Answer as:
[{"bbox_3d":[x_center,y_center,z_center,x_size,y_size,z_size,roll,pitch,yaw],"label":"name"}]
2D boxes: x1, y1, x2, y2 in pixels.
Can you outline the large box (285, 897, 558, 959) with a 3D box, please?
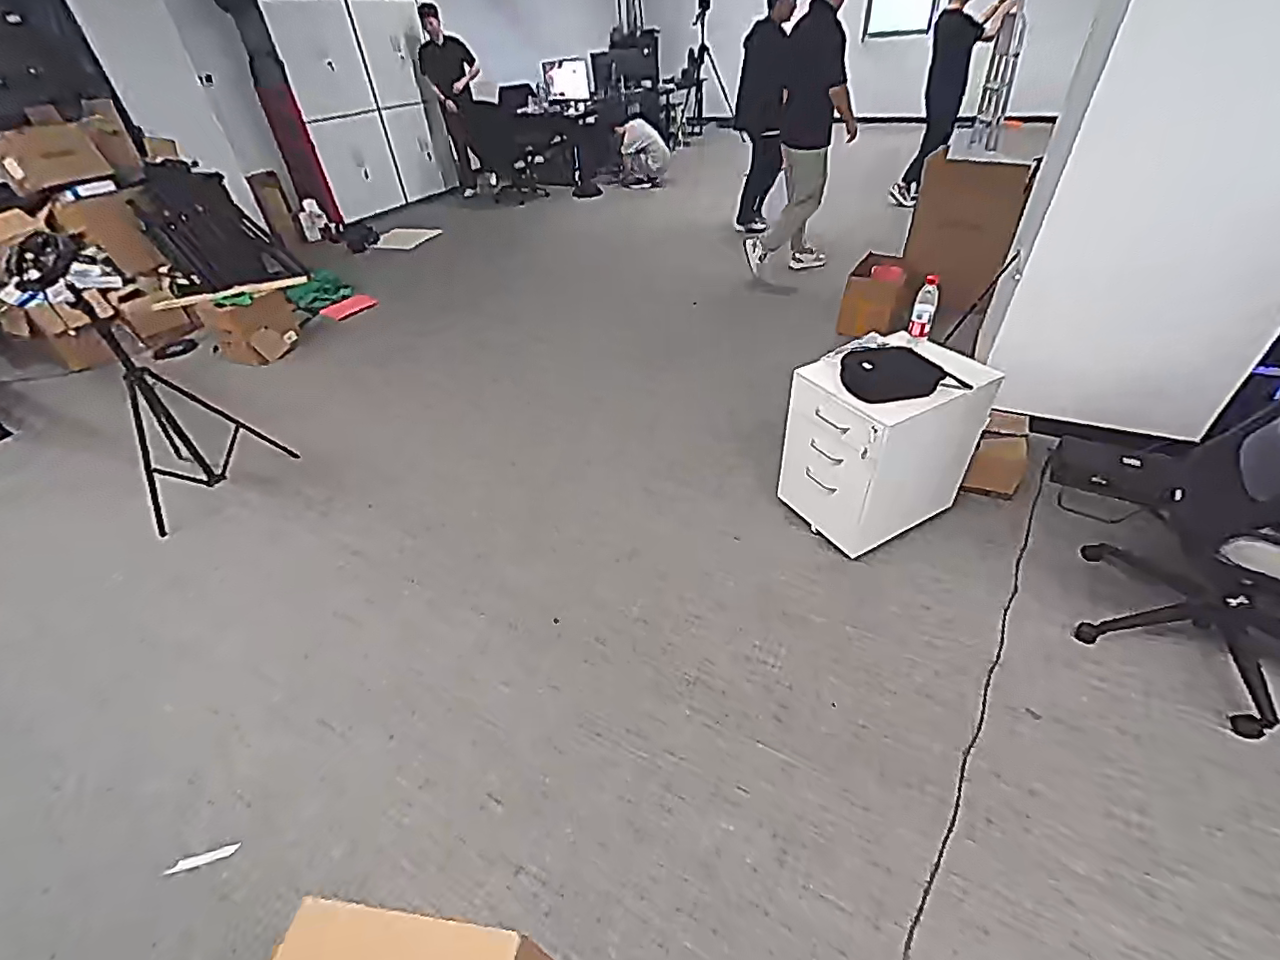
[{"bbox_3d":[-0.262,0.779,0.666,0.320,0.408,0.320,-2,37,18],"label":"large box"}]
